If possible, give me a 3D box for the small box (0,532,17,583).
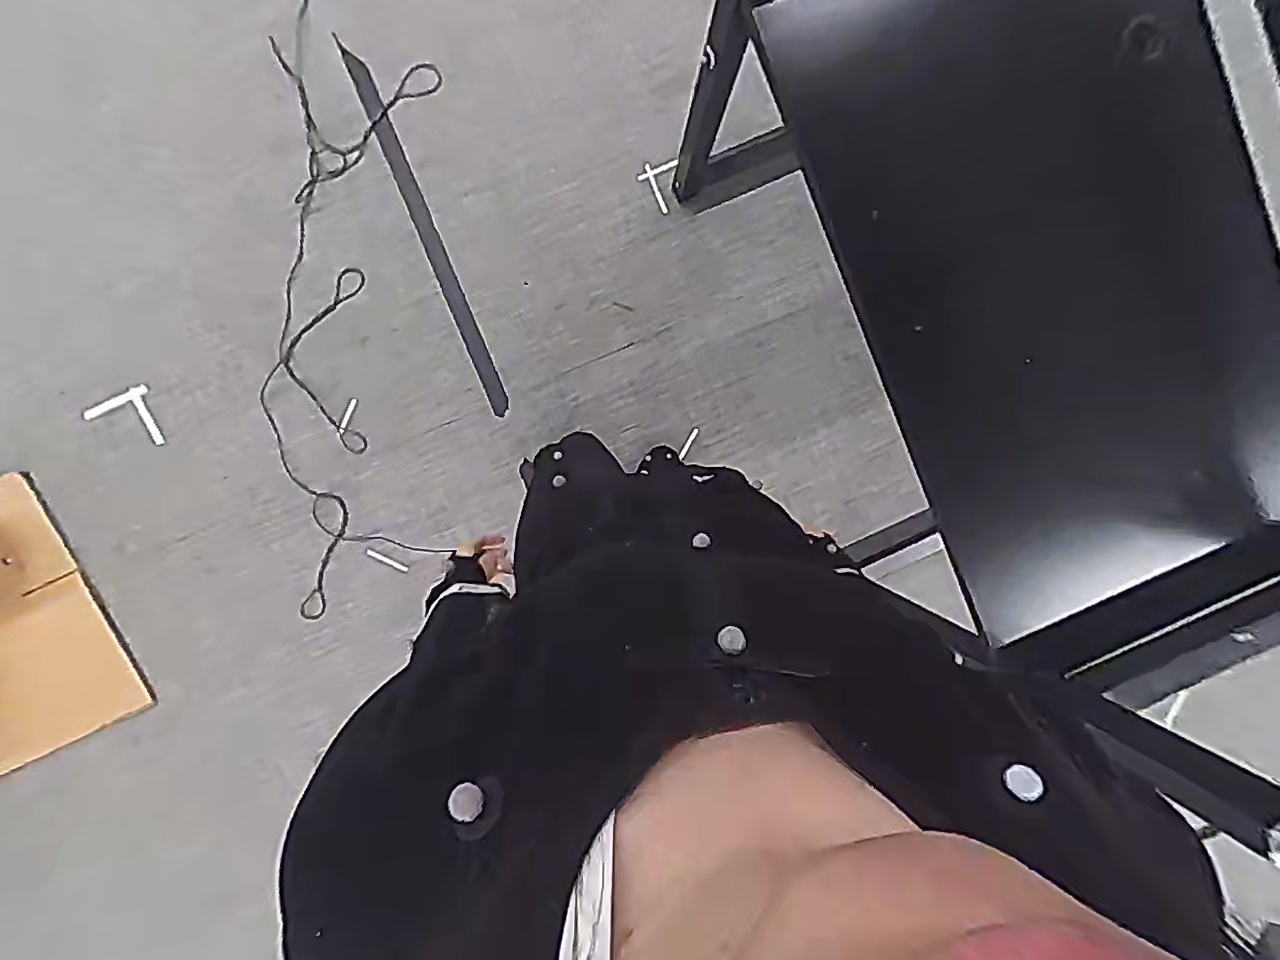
[{"bbox_3d":[-1.697,0.204,1.313,0.179,0.176,0.168,-28,95,-1],"label":"small box"}]
